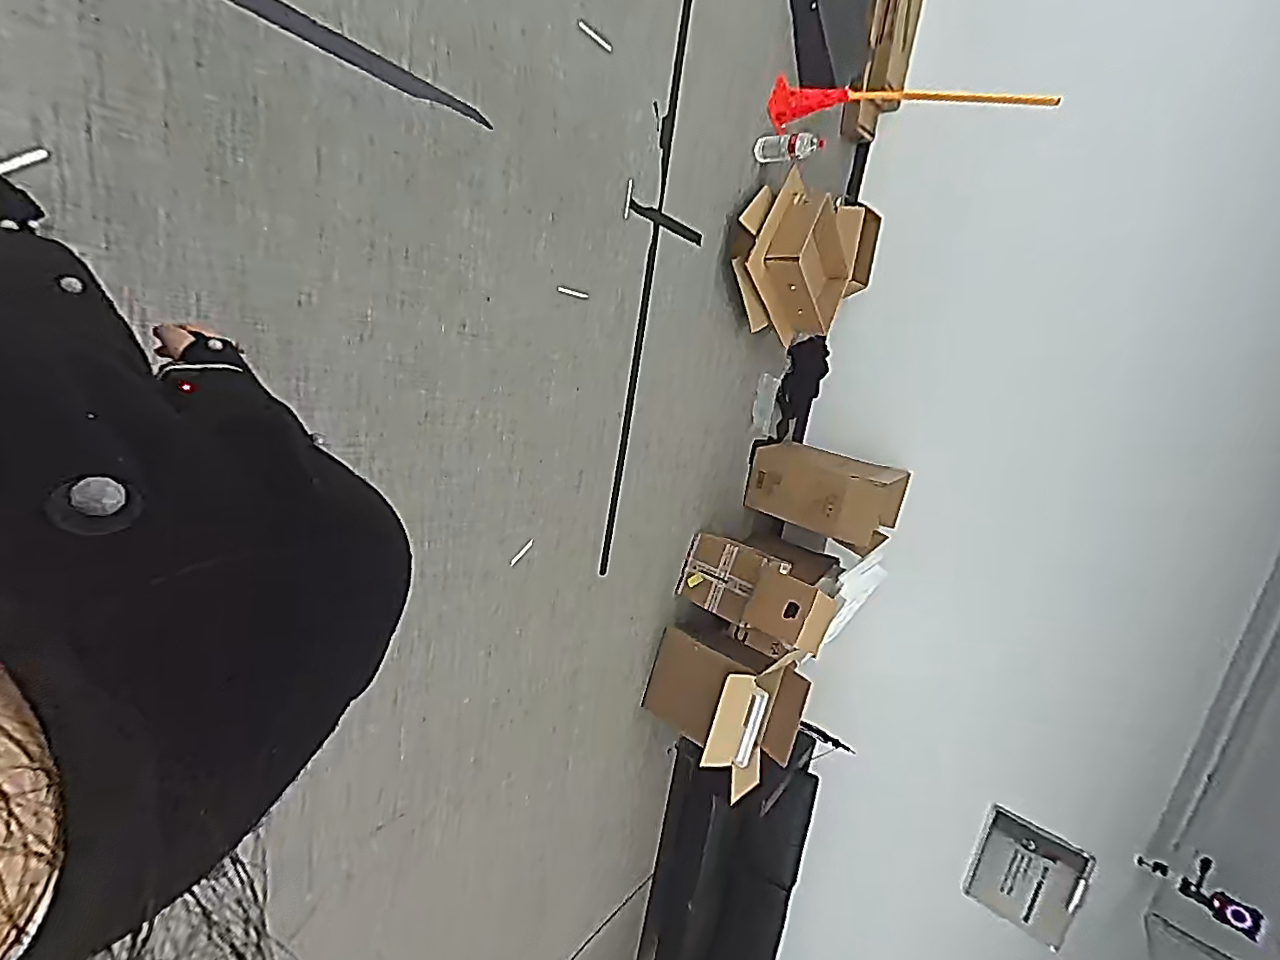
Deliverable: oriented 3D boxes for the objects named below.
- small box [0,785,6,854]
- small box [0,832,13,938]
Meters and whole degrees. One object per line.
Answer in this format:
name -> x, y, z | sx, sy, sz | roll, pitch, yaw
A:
small box -> -1.052, 0.468, 0.776 | 0.168, 0.176, 0.179 | -12, 113, -51
small box -> -0.929, 0.503, 0.675 | 0.168, 0.176, 0.179 | -12, 115, -49
